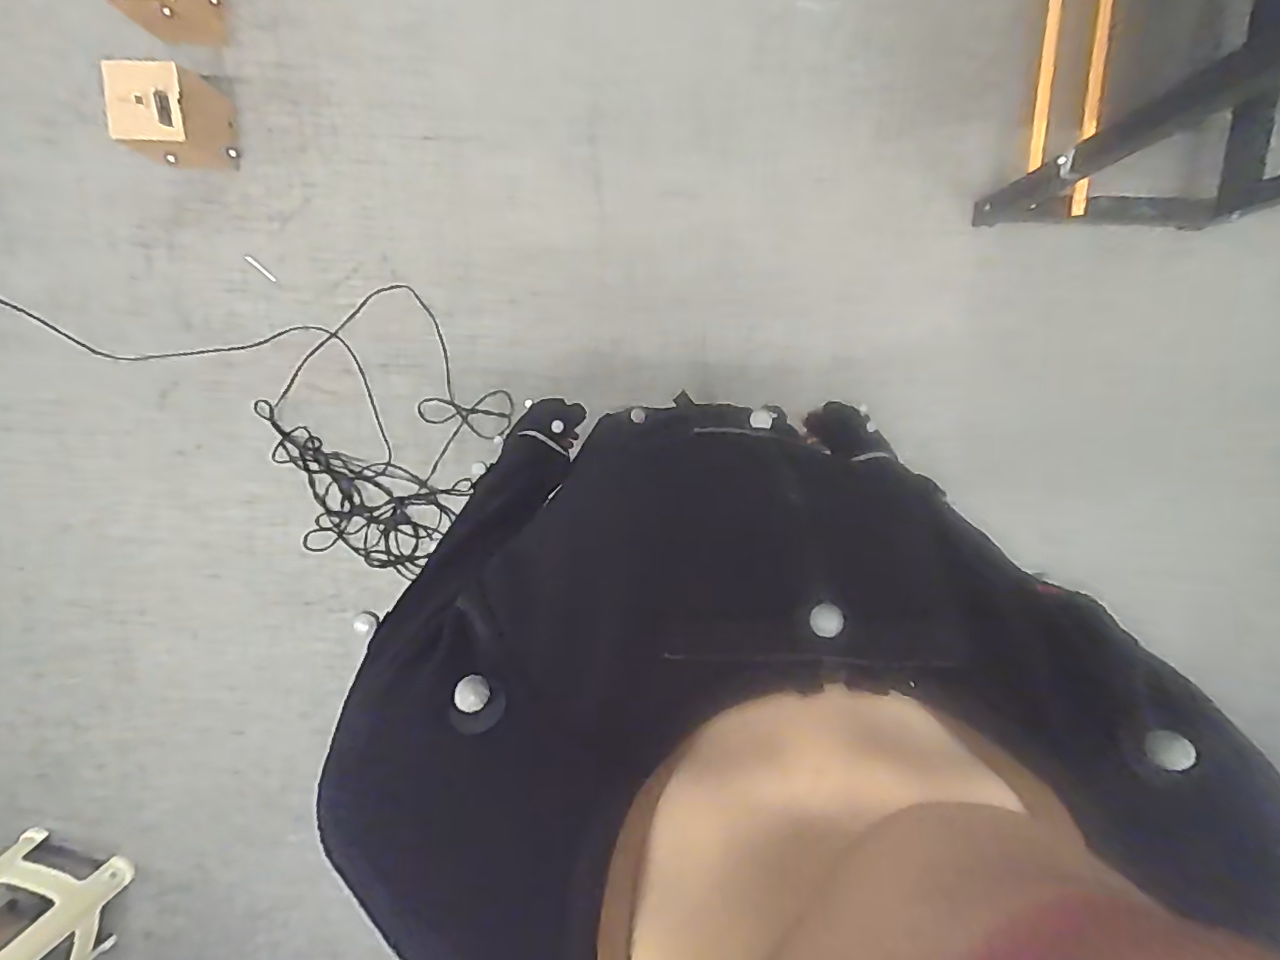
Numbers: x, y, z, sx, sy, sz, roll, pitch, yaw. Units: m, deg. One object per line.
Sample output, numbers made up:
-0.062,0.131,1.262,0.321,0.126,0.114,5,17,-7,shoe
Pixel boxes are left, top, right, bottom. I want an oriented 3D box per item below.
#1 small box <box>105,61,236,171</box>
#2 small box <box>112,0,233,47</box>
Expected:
-1.105,-0.860,1.292,0.179,0.176,0.168,2,98,1,small box
-1.094,-1.148,1.253,0.179,0.176,0.168,3,98,0,small box
